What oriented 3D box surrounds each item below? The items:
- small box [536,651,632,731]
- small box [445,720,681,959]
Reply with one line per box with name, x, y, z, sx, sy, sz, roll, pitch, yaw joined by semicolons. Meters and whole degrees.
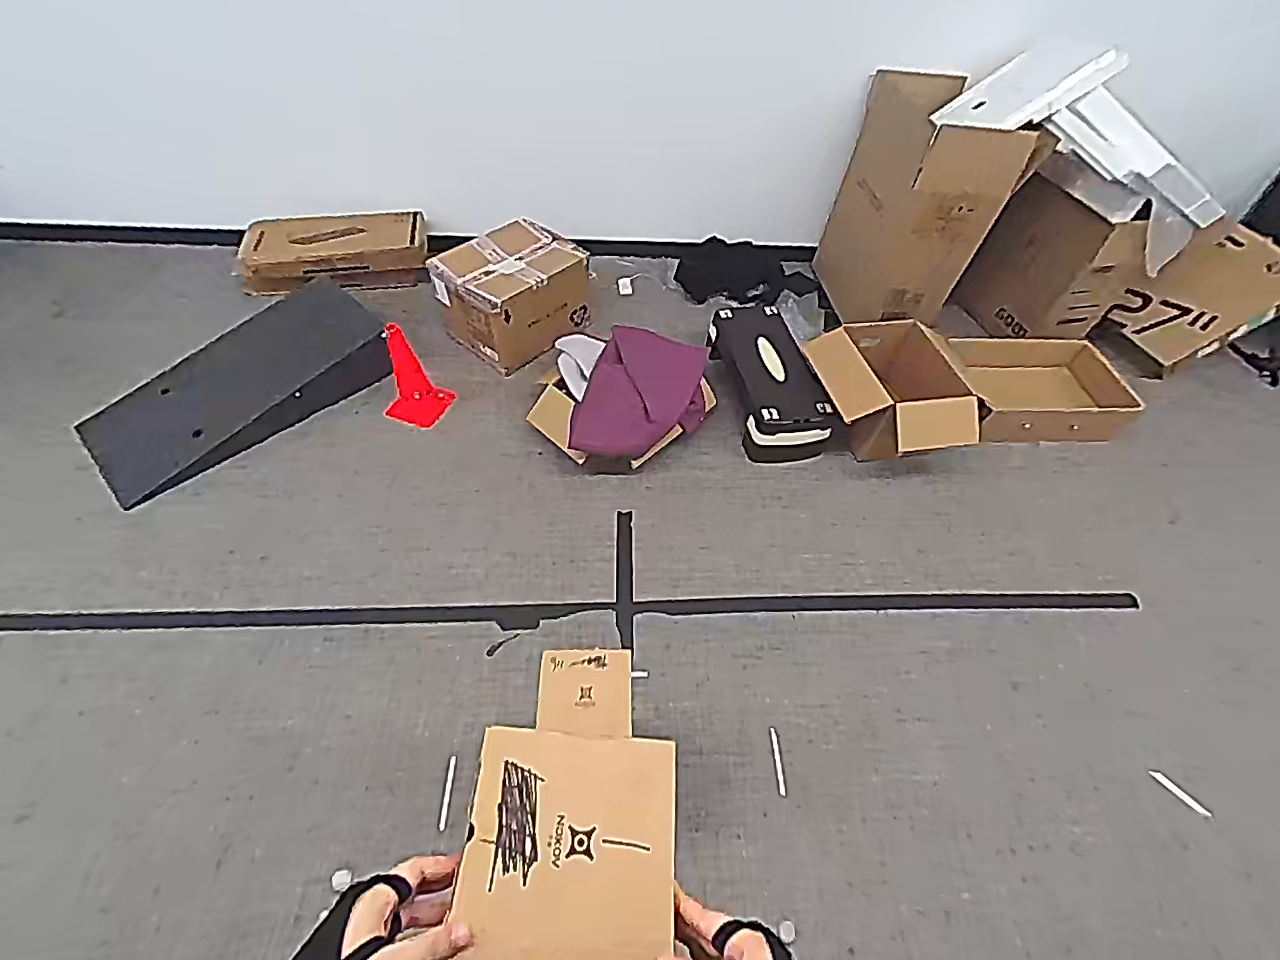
small box;-0.098;0.432;1.006;0.168;0.176;0.179;0;53;-2
small box;-0.061;0.339;0.507;0.179;0.176;0.168;6;52;-4
